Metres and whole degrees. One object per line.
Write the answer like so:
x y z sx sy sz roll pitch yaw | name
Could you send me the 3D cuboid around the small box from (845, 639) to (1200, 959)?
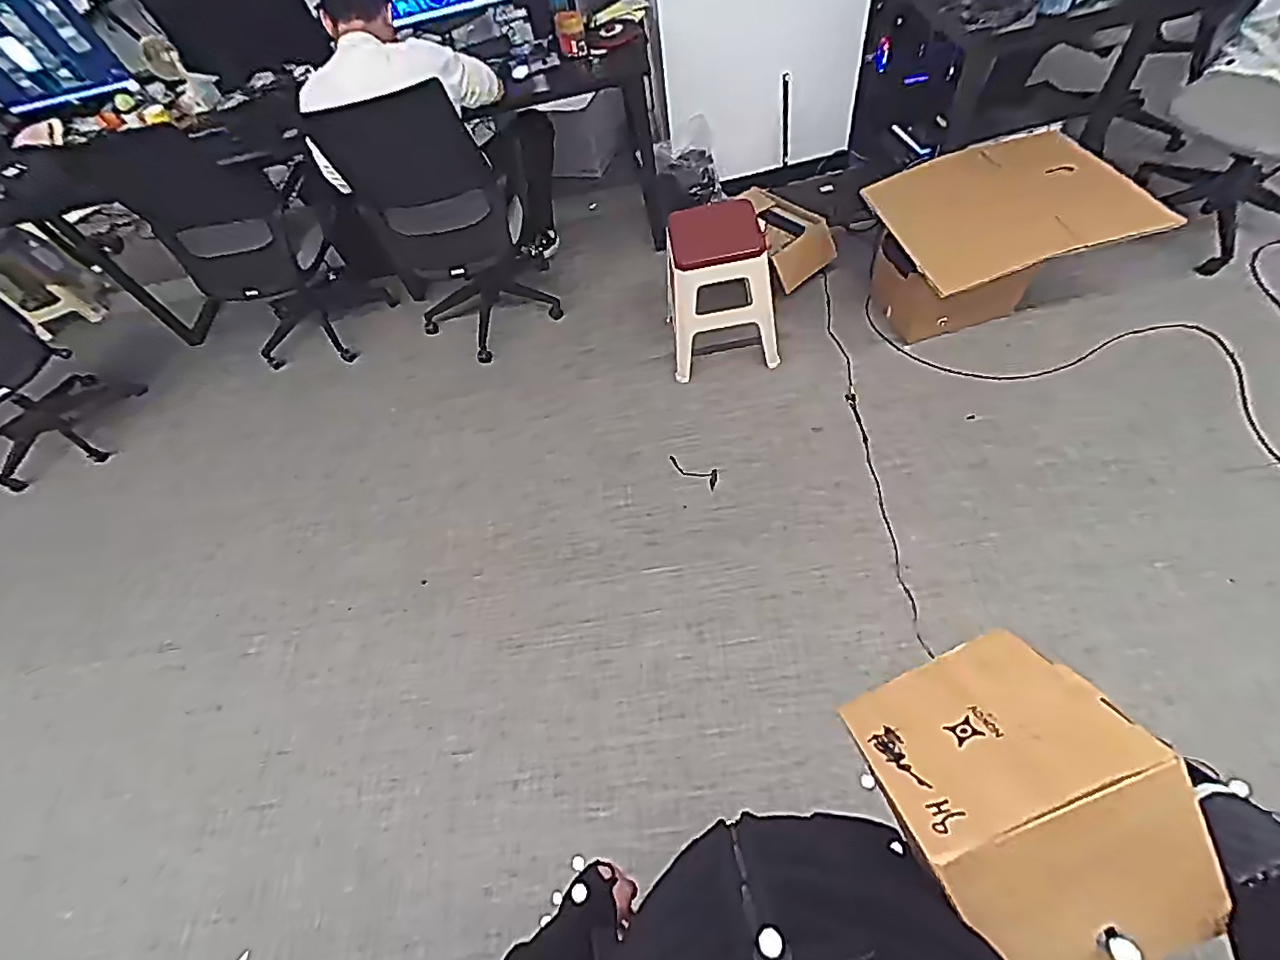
0.316 0.279 0.465 0.179 0.176 0.168 -28 12 5 | small box
